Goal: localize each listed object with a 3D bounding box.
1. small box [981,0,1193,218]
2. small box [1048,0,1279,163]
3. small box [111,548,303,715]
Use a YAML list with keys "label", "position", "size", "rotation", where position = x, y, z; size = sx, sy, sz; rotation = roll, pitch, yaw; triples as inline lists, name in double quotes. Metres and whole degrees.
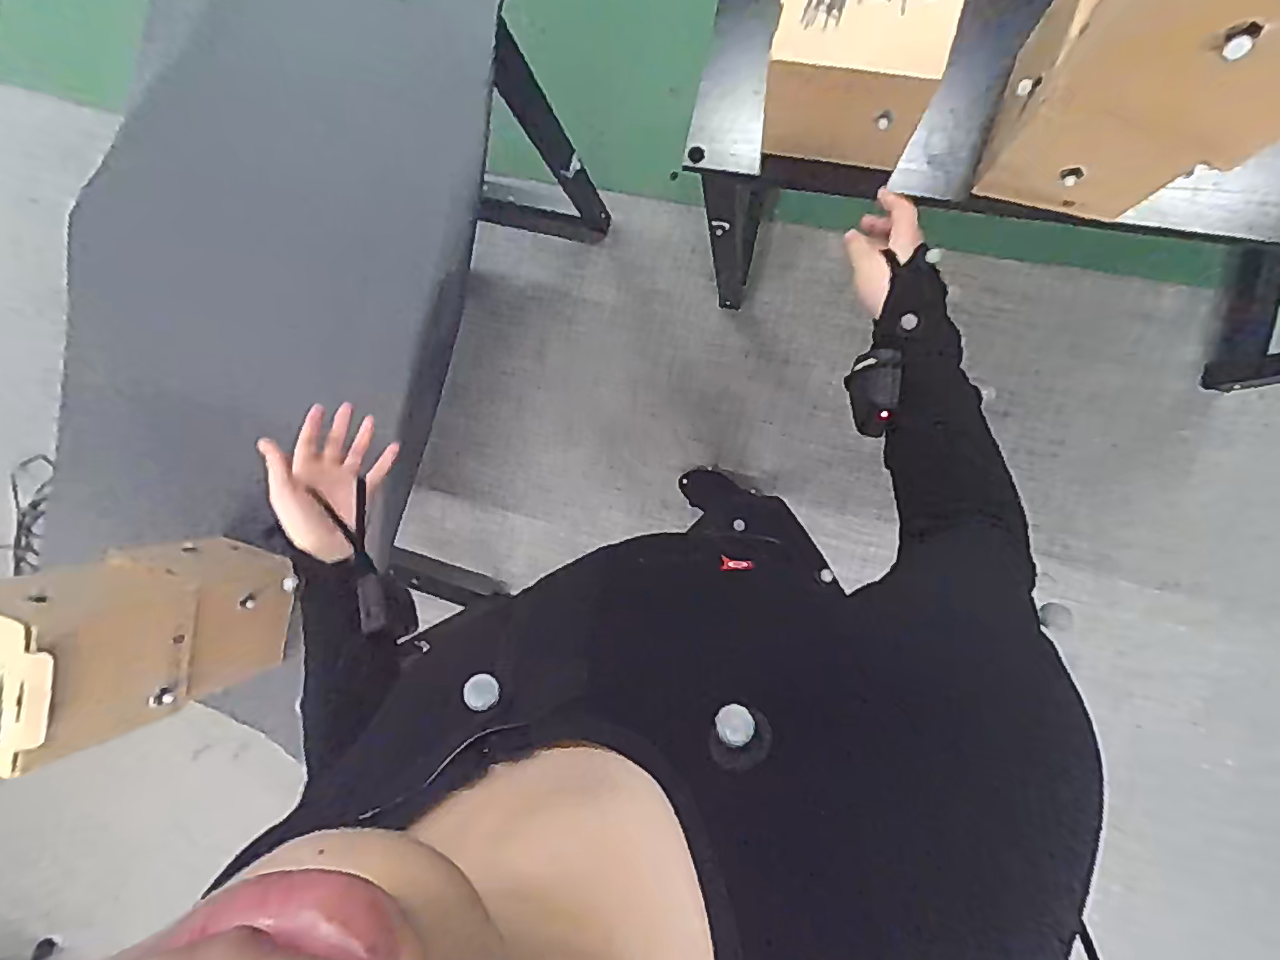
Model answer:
- label: "small box"
  position: [0.498, -0.408, 0.572]
  size: [0.168, 0.176, 0.179]
  rotation: [18, 95, 9]
- label: "small box"
  position: [0.475, -0.380, 0.412]
  size: [0.179, 0.176, 0.168]
  rotation: [26, 96, 10]
- label: "small box"
  position: [-0.647, 0.211, 0.810]
  size: [0.168, 0.176, 0.179]
  rotation: [14, 94, 13]
